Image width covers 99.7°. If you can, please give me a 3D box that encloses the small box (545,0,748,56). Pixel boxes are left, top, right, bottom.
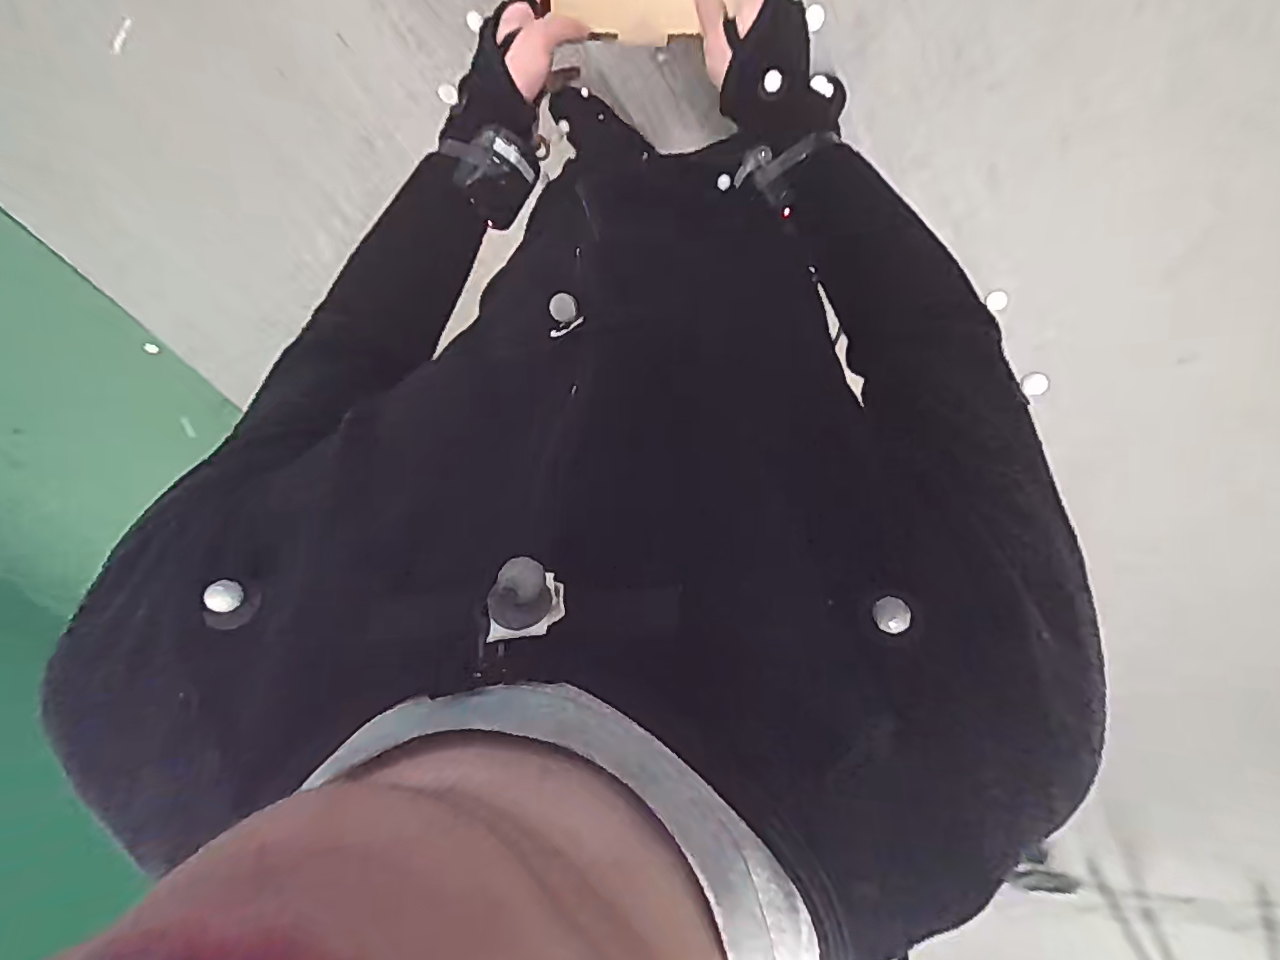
[{"bbox_3d":[0.015,-0.498,0.489,0.168,0.176,0.179,8,129,11],"label":"small box"}]

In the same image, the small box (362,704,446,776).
[{"bbox_3d":[-0.789,0.877,1.832,0.179,0.176,0.168,-22,121,31],"label":"small box"}]
